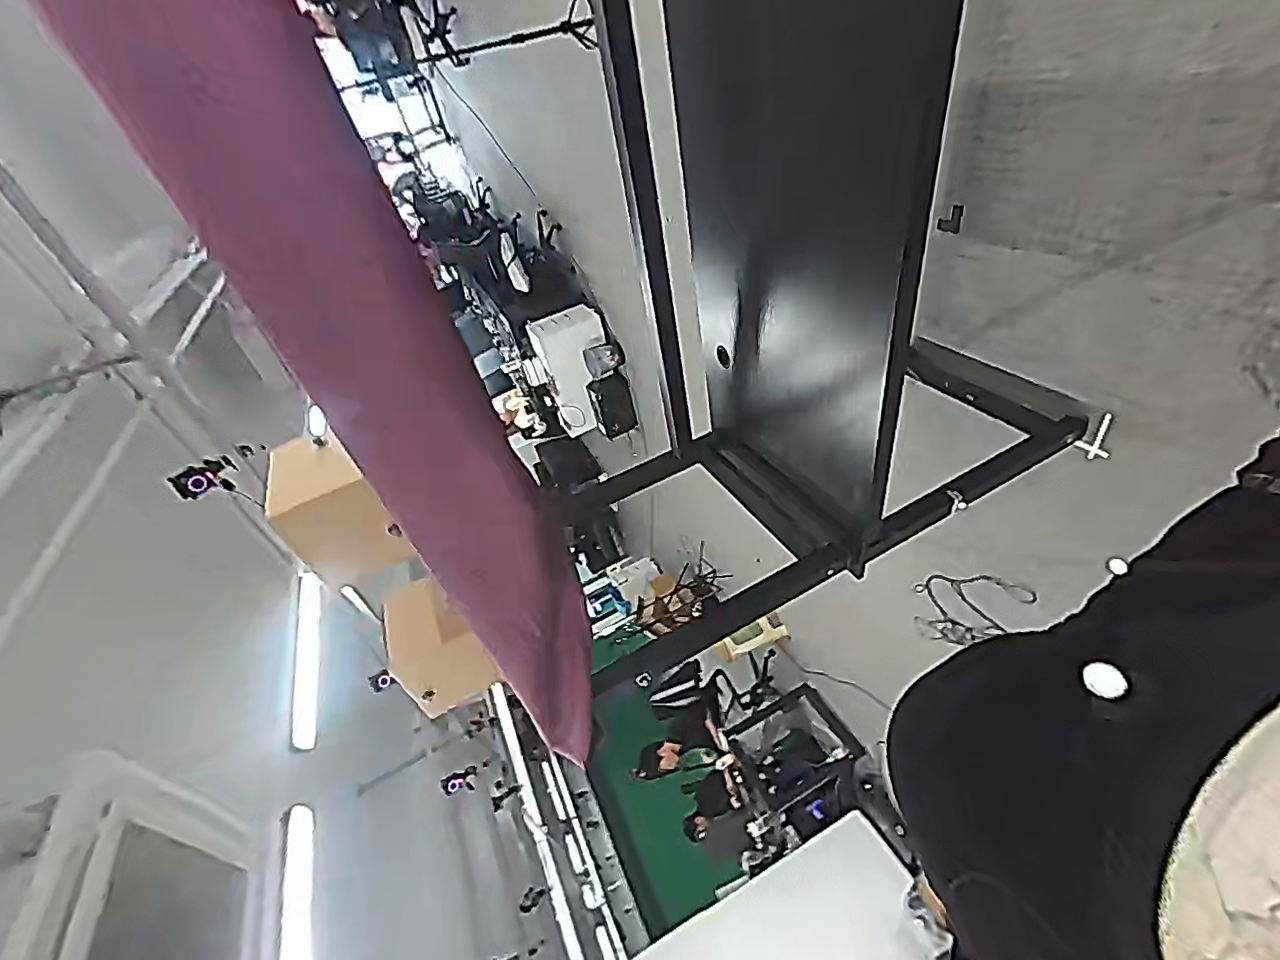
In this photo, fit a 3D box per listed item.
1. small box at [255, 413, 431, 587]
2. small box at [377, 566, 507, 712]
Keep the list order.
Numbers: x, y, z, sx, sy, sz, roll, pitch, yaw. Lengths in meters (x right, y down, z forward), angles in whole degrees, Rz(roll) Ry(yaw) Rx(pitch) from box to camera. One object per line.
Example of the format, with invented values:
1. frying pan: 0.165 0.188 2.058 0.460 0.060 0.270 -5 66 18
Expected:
1. small box: -0.432 0.020 0.808 0.179 0.176 0.168 52 162 45
2. small box: -0.360 0.281 0.995 0.179 0.176 0.168 52 162 48
